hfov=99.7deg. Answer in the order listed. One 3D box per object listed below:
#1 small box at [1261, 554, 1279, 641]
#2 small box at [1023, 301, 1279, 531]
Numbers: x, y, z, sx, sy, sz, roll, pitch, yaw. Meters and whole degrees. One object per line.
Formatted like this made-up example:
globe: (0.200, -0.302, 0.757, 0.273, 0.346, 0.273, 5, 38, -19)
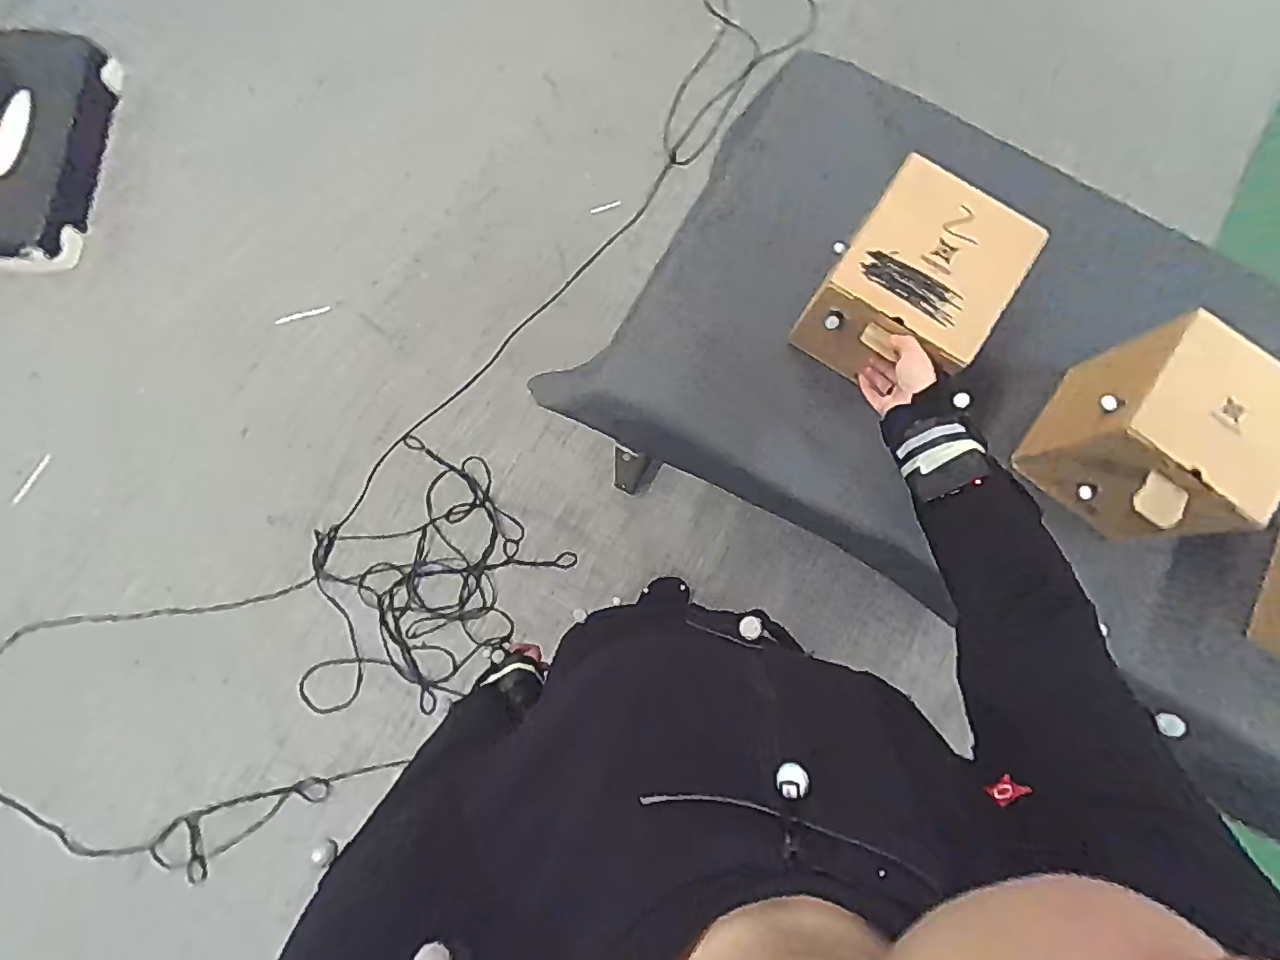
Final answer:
small box: (0.871, 0.143, 0.600, 0.168, 0.176, 0.179, 30, 78, 1)
small box: (0.598, -0.060, 0.624, 0.168, 0.176, 0.179, 38, 80, 4)
